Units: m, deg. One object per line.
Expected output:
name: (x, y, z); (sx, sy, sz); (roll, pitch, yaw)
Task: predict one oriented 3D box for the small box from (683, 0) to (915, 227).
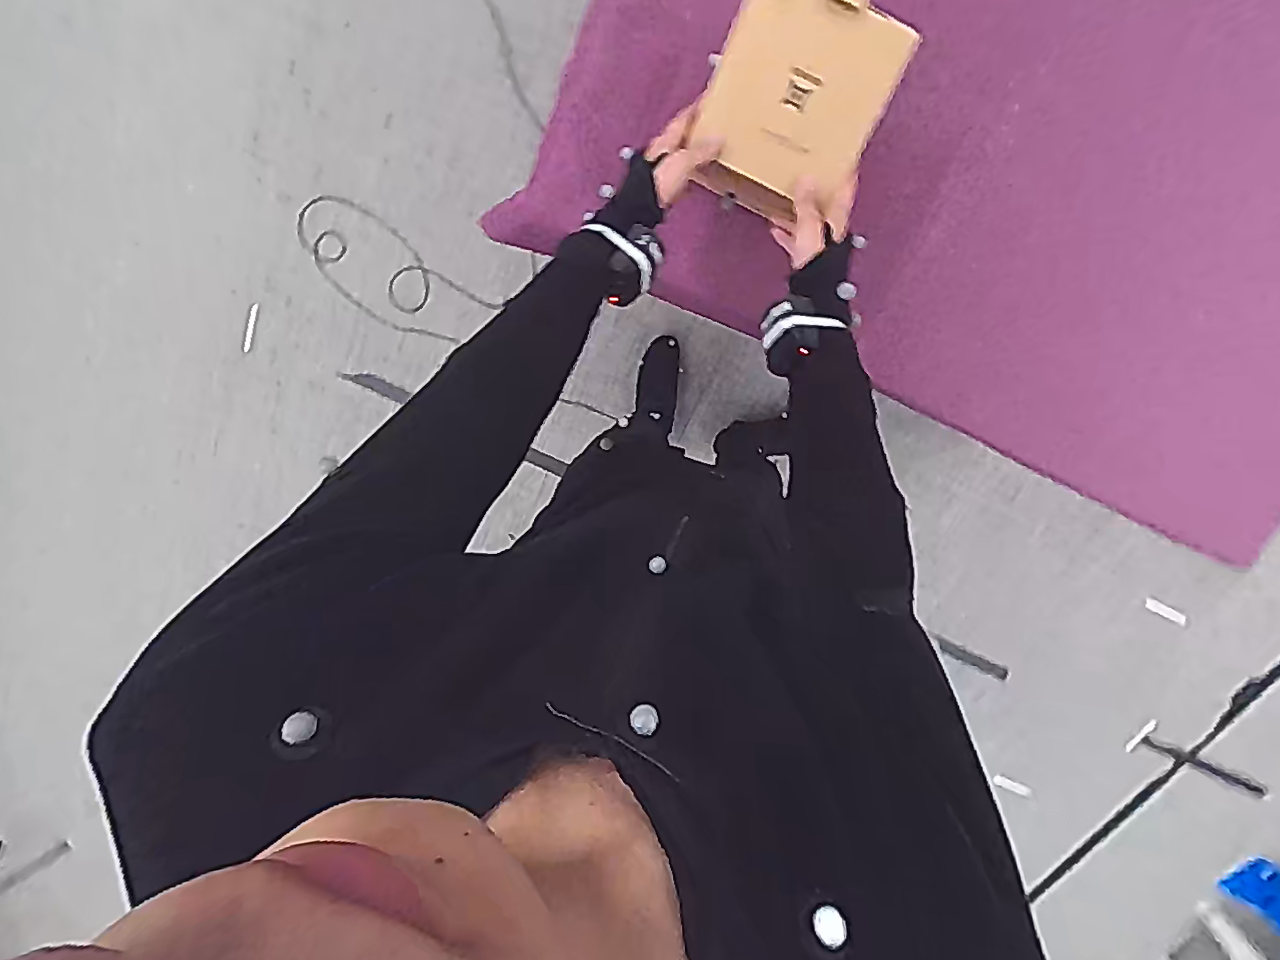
small box: (0.155, -0.407, 0.600); (0.168, 0.176, 0.179); (25, 110, -4)
